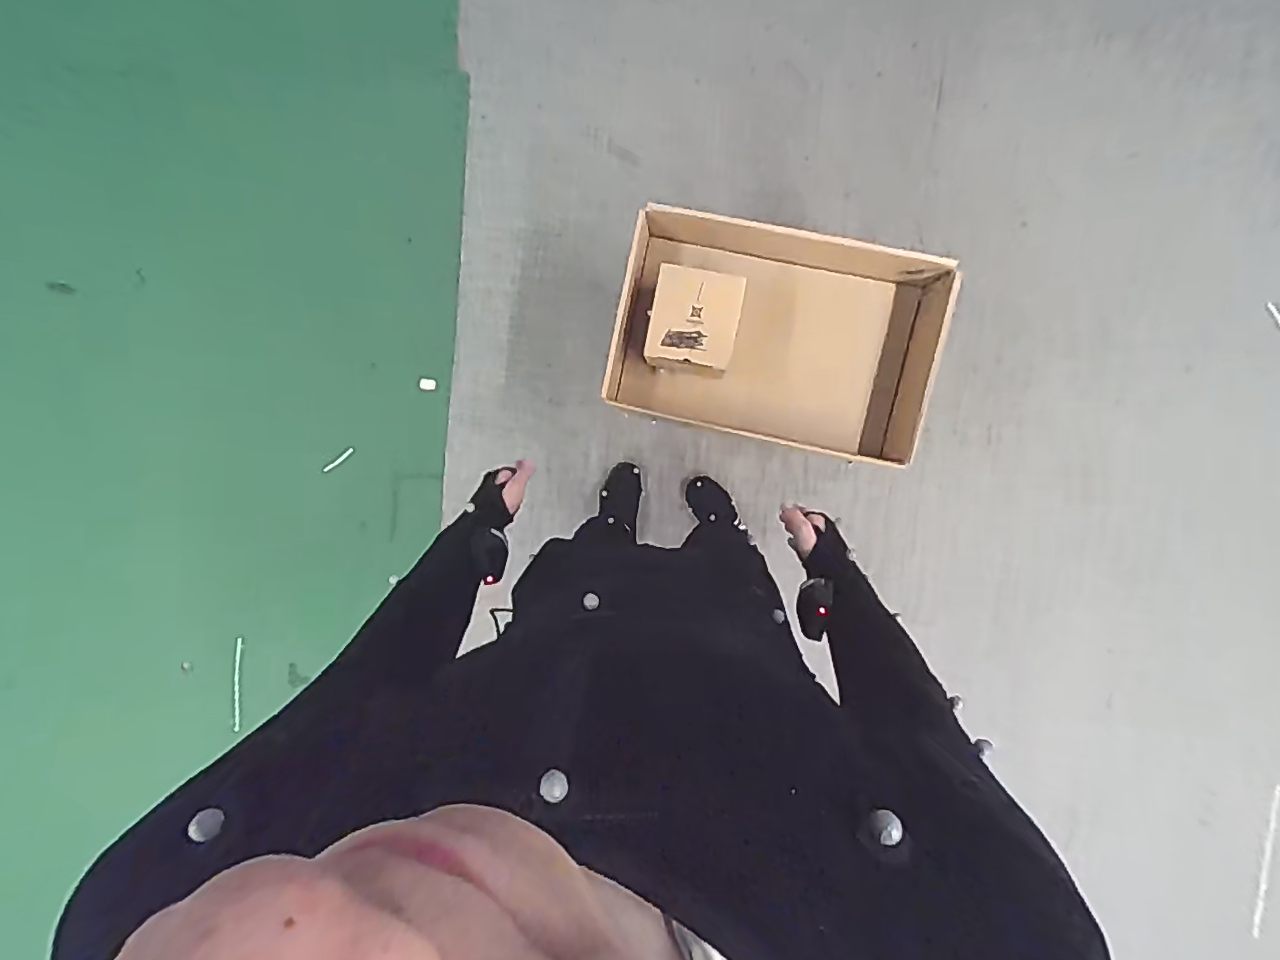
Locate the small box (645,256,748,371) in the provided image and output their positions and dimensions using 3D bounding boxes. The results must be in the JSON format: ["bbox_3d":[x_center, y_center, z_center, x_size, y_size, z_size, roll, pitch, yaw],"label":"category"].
[{"bbox_3d":[0.114,-0.326,1.095,0.168,0.176,0.179,12,95,4],"label":"small box"}]
